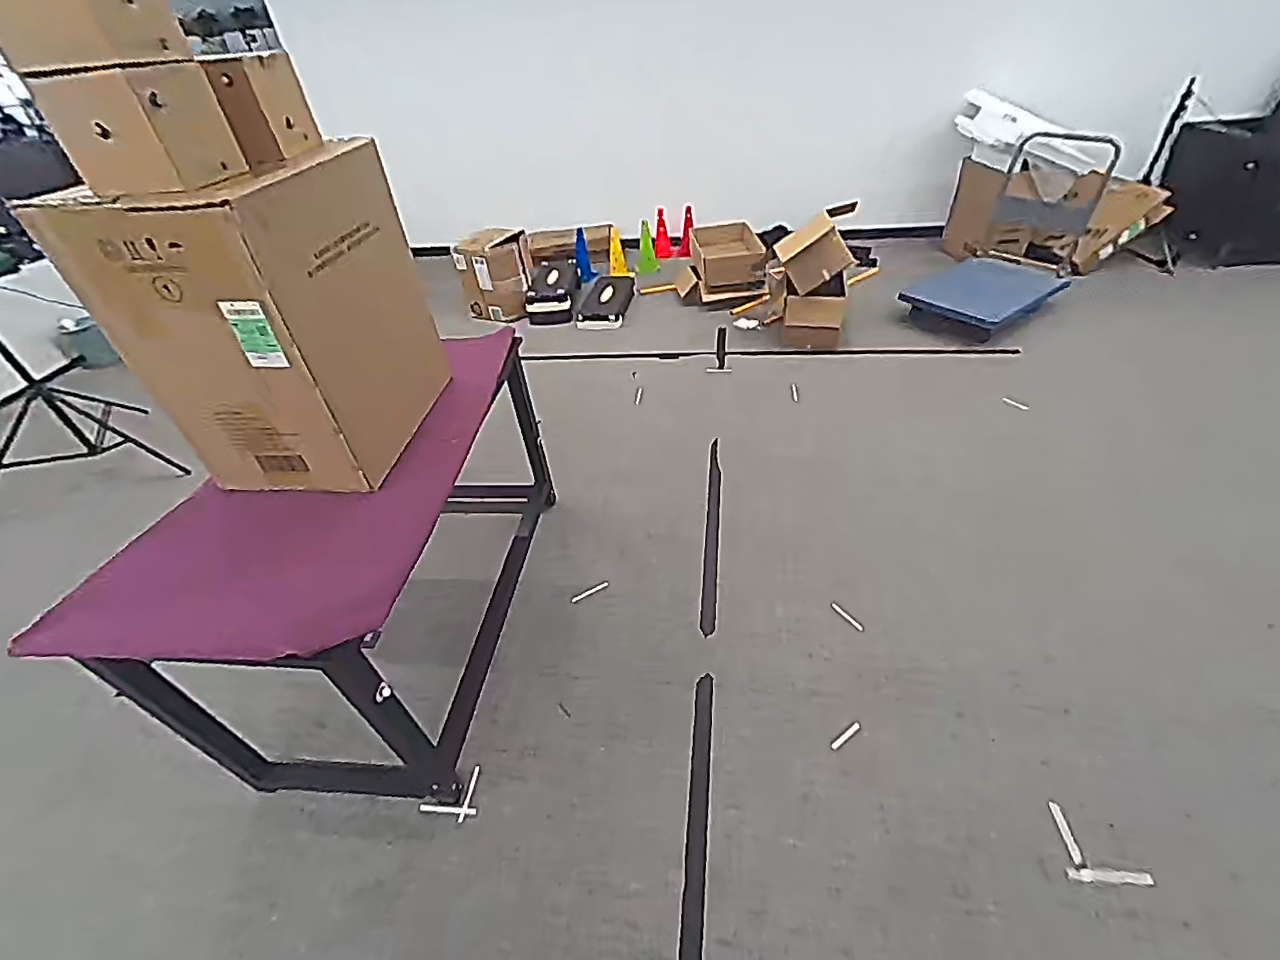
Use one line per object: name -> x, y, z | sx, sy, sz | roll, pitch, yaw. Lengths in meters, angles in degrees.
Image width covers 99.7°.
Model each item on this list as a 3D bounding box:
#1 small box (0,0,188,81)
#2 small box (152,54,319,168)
small box -> -0.834, -0.703, 0.793 | 0.179, 0.176, 0.168 | -3, 39, 3
small box -> -0.801, -0.745, 1.094 | 0.179, 0.176, 0.168 | -1, 42, 4
